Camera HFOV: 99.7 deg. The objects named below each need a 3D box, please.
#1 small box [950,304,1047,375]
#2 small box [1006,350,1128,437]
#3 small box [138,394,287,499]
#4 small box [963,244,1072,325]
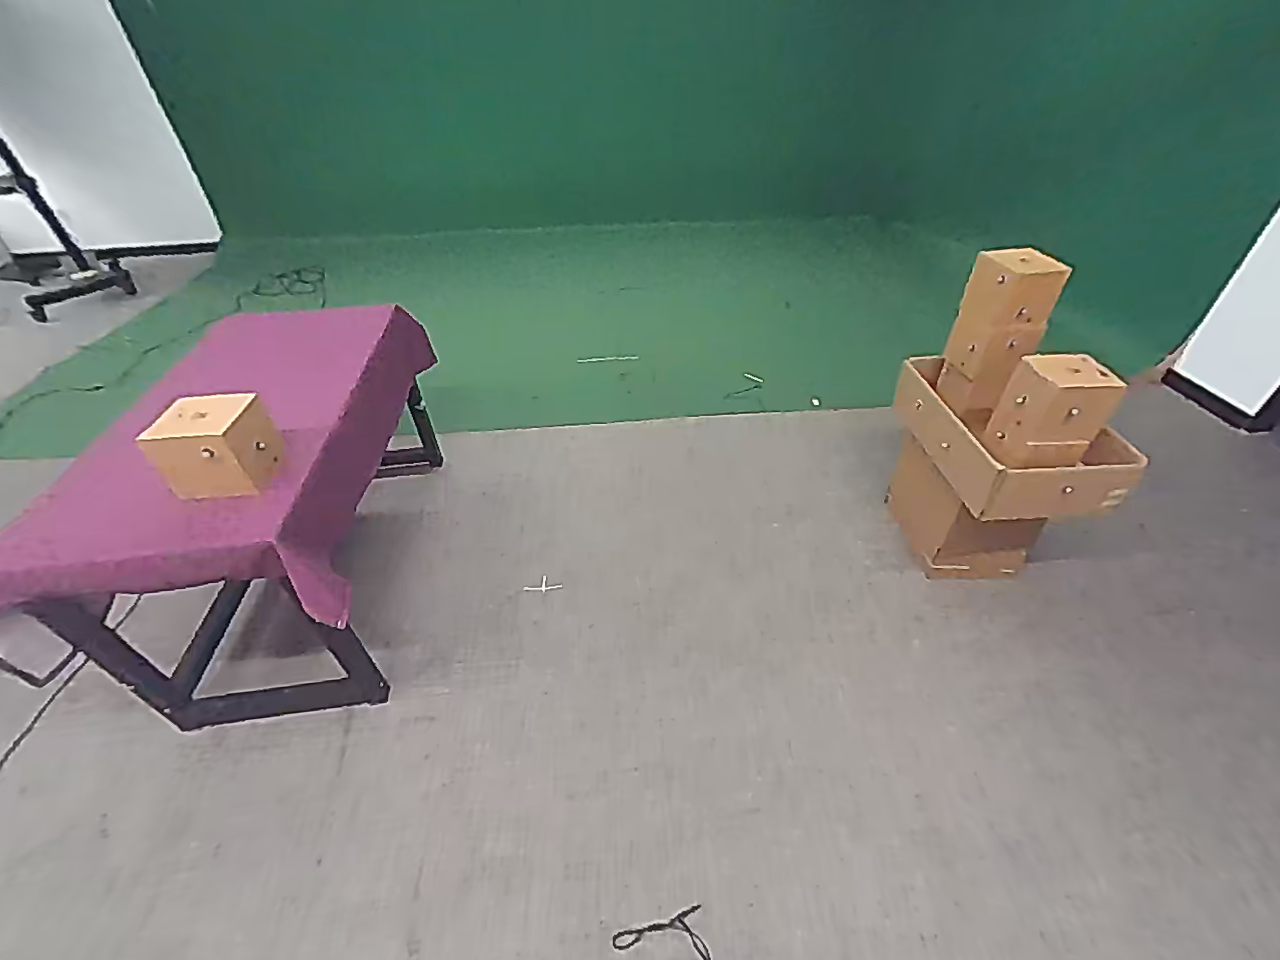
[{"bbox_3d":[1.094,-0.439,1.674,0.179,0.176,0.168,-5,42,-4],"label":"small box"},{"bbox_3d":[1.107,-0.226,1.428,0.179,0.176,0.168,-2,42,1],"label":"small box"},{"bbox_3d":[-0.943,-0.074,1.218,0.179,0.176,0.168,-5,40,-2],"label":"small box"},{"bbox_3d":[1.088,-0.570,1.578,0.168,0.176,0.179,-7,42,-5],"label":"small box"}]
